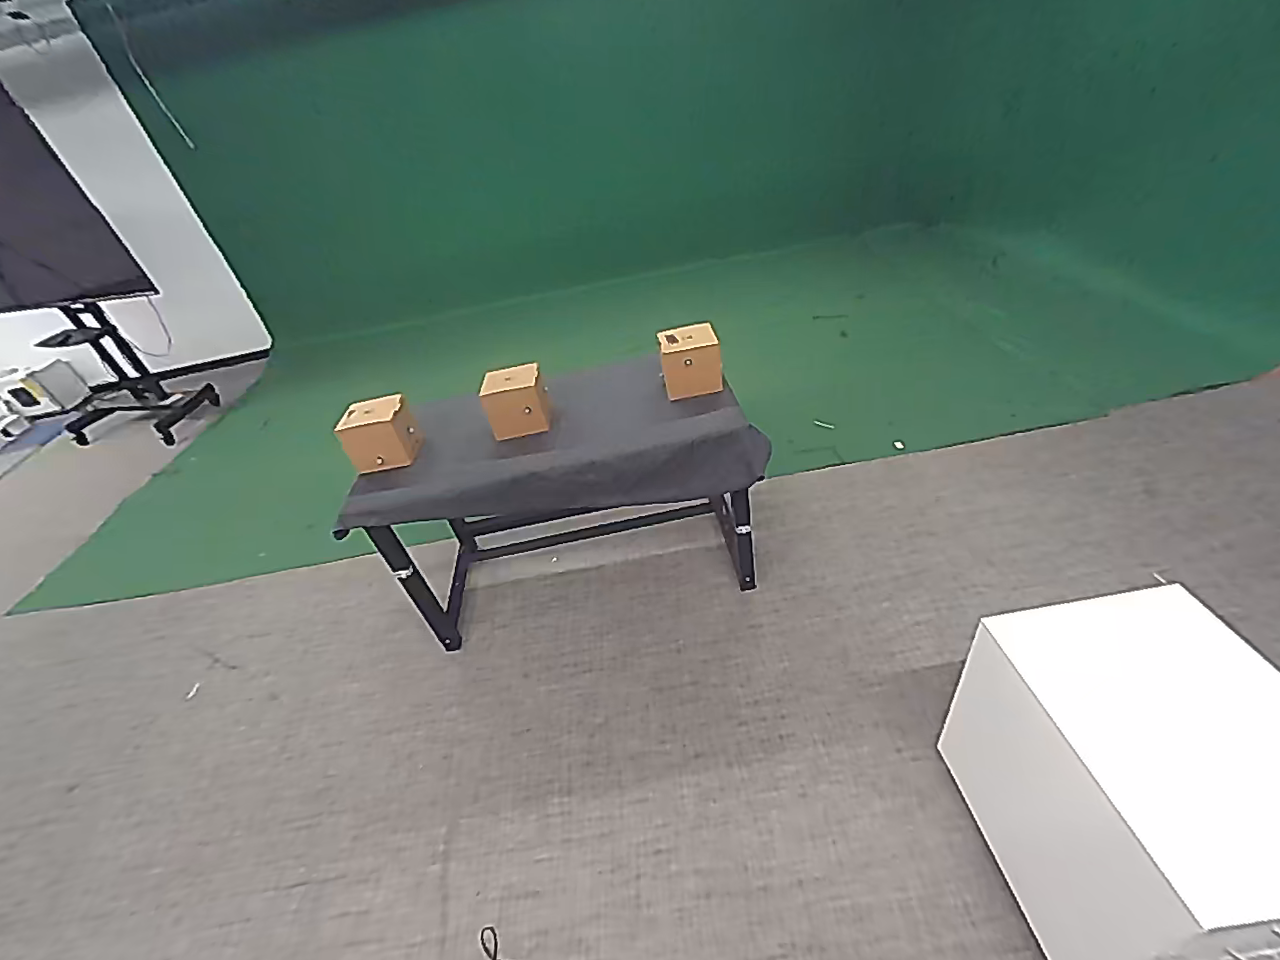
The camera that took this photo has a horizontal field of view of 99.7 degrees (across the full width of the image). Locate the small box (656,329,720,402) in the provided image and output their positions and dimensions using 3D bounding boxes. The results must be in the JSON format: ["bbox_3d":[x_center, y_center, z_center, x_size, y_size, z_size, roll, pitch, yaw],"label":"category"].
[{"bbox_3d":[0.155,-0.366,1.739,0.179,0.176,0.168,-9,37,1],"label":"small box"}]

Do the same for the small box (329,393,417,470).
[{"bbox_3d":[-0.827,-0.152,1.698,0.179,0.176,0.168,-9,36,-1],"label":"small box"}]

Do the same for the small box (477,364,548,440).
[{"bbox_3d":[-0.398,-0.247,1.725,0.179,0.176,0.168,-11,35,1],"label":"small box"}]
